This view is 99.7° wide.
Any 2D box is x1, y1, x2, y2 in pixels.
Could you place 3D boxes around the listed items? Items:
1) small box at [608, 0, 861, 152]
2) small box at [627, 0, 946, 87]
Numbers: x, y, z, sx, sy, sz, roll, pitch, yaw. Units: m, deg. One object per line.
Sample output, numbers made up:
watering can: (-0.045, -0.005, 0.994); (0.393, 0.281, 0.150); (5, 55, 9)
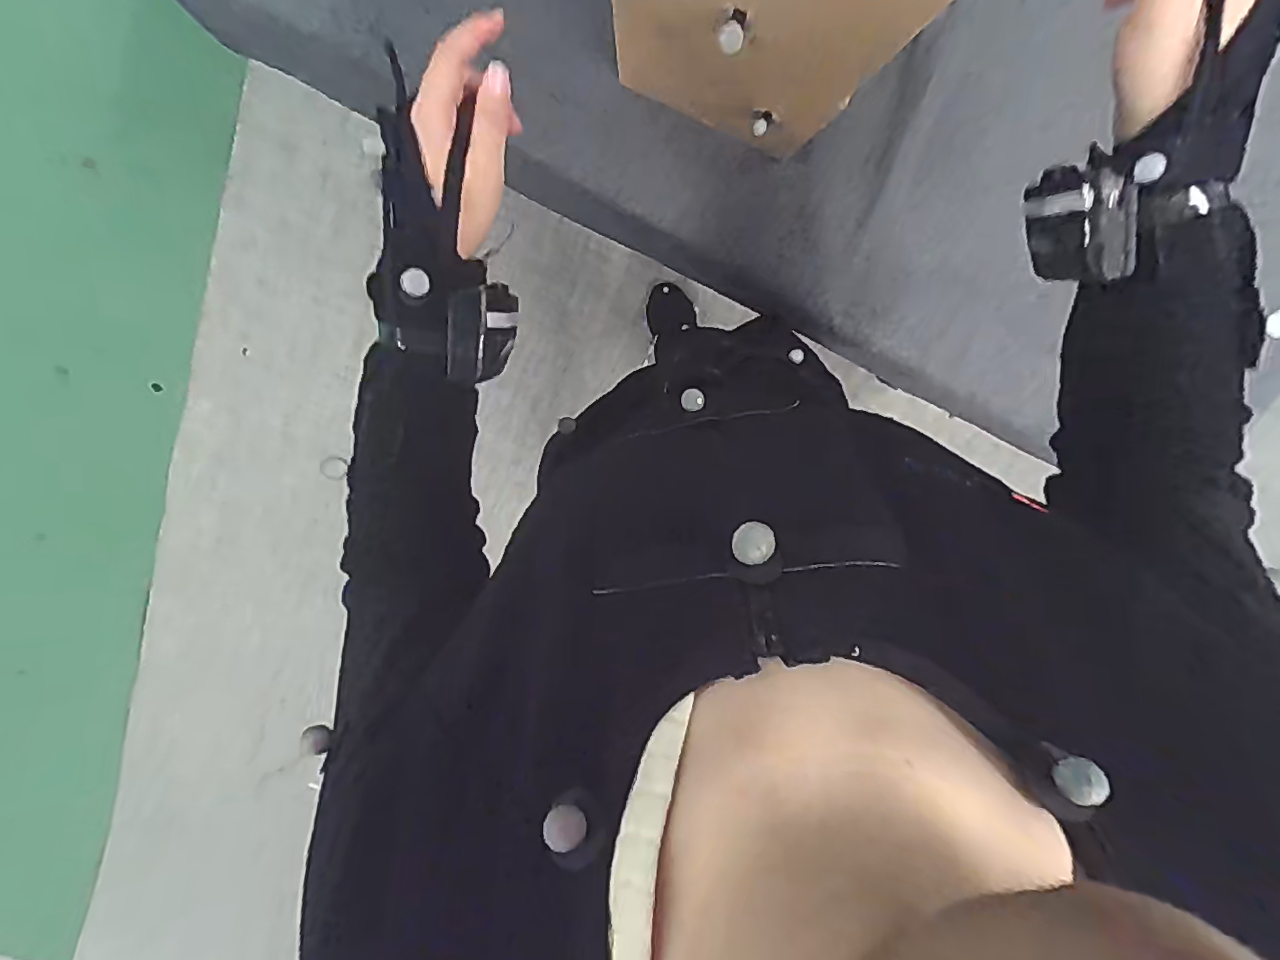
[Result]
small box: (0.088, -0.380, 0.412); (0.179, 0.176, 0.168); (21, 107, -7)
small box: (0.084, -0.328, 0.254); (0.179, 0.176, 0.168); (21, 105, -8)
